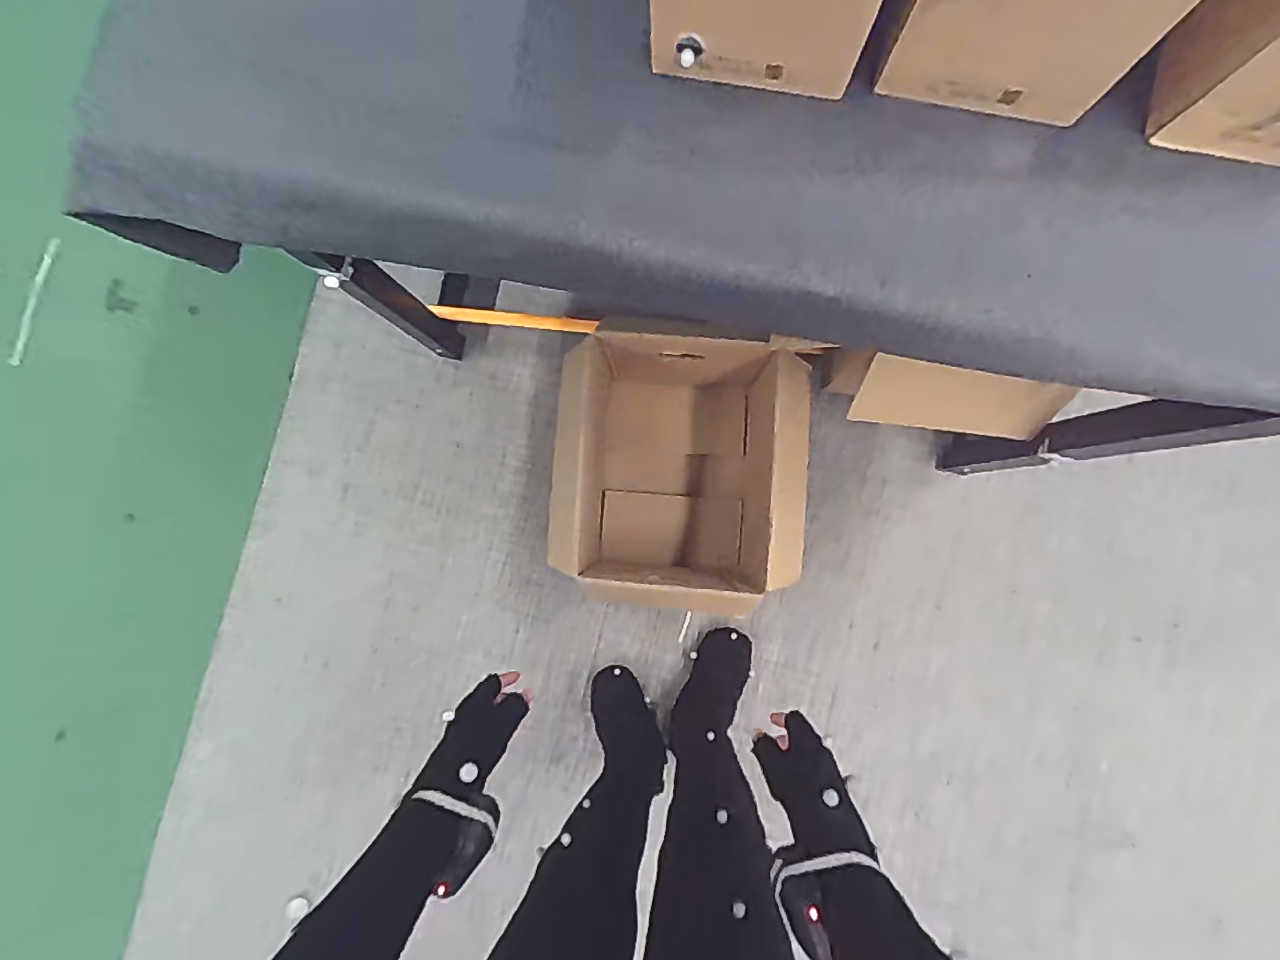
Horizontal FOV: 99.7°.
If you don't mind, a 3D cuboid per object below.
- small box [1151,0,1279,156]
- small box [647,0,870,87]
[{"bbox_3d":[0.502,-0.355,0.360,0.168,0.176,0.179,11,88,3],"label":"small box"},{"bbox_3d":[0.097,-0.426,0.382,0.168,0.176,0.179,10,87,3],"label":"small box"}]
